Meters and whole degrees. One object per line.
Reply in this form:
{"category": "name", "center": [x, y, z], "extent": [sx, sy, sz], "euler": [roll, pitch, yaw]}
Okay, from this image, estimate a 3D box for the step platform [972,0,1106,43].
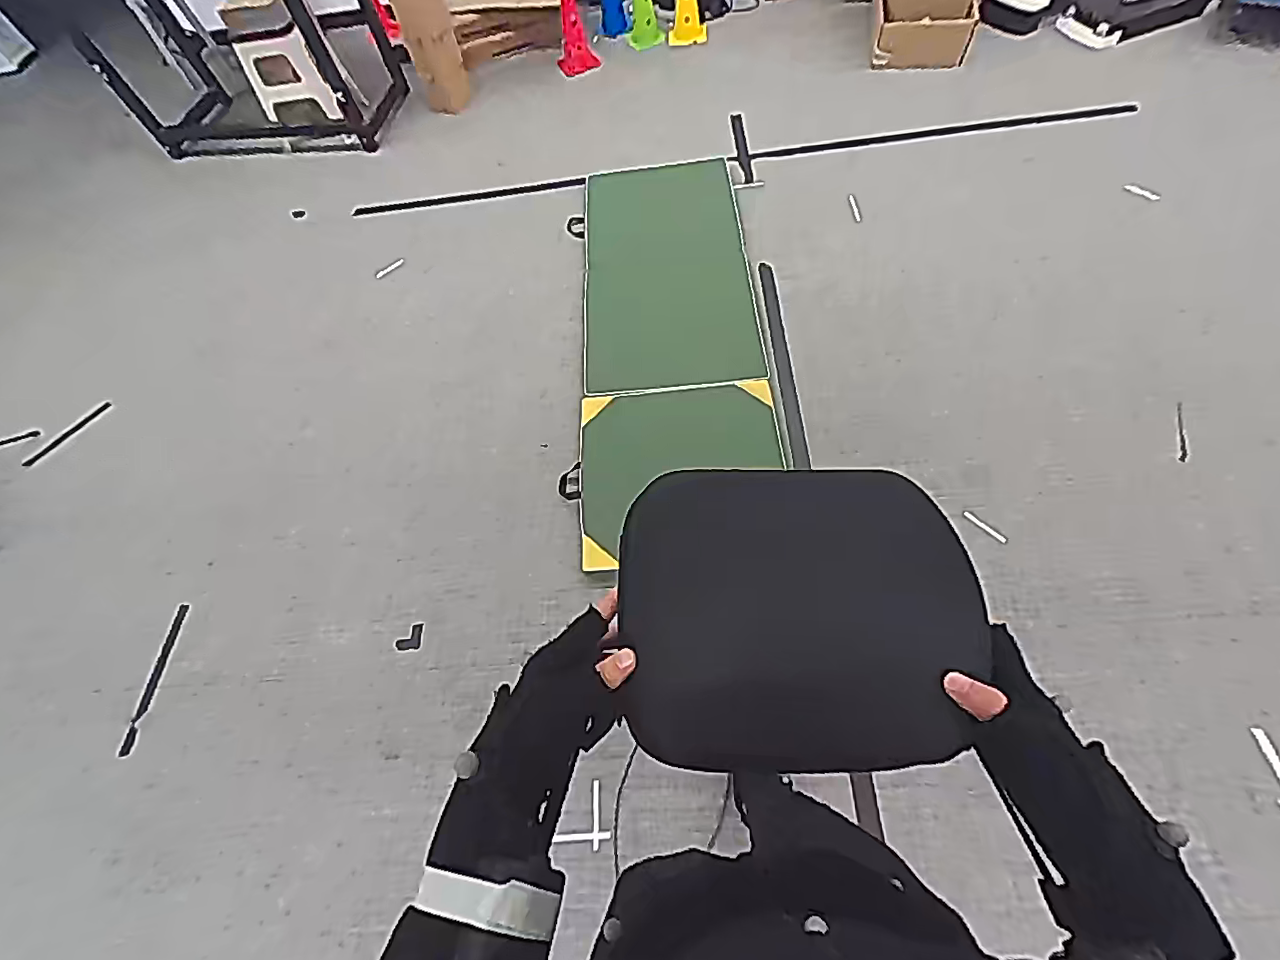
{"category": "step platform", "center": [1.970, -2.365, 2.594], "extent": [0.684, 0.204, 0.286], "euler": [-31, 63, -9]}
